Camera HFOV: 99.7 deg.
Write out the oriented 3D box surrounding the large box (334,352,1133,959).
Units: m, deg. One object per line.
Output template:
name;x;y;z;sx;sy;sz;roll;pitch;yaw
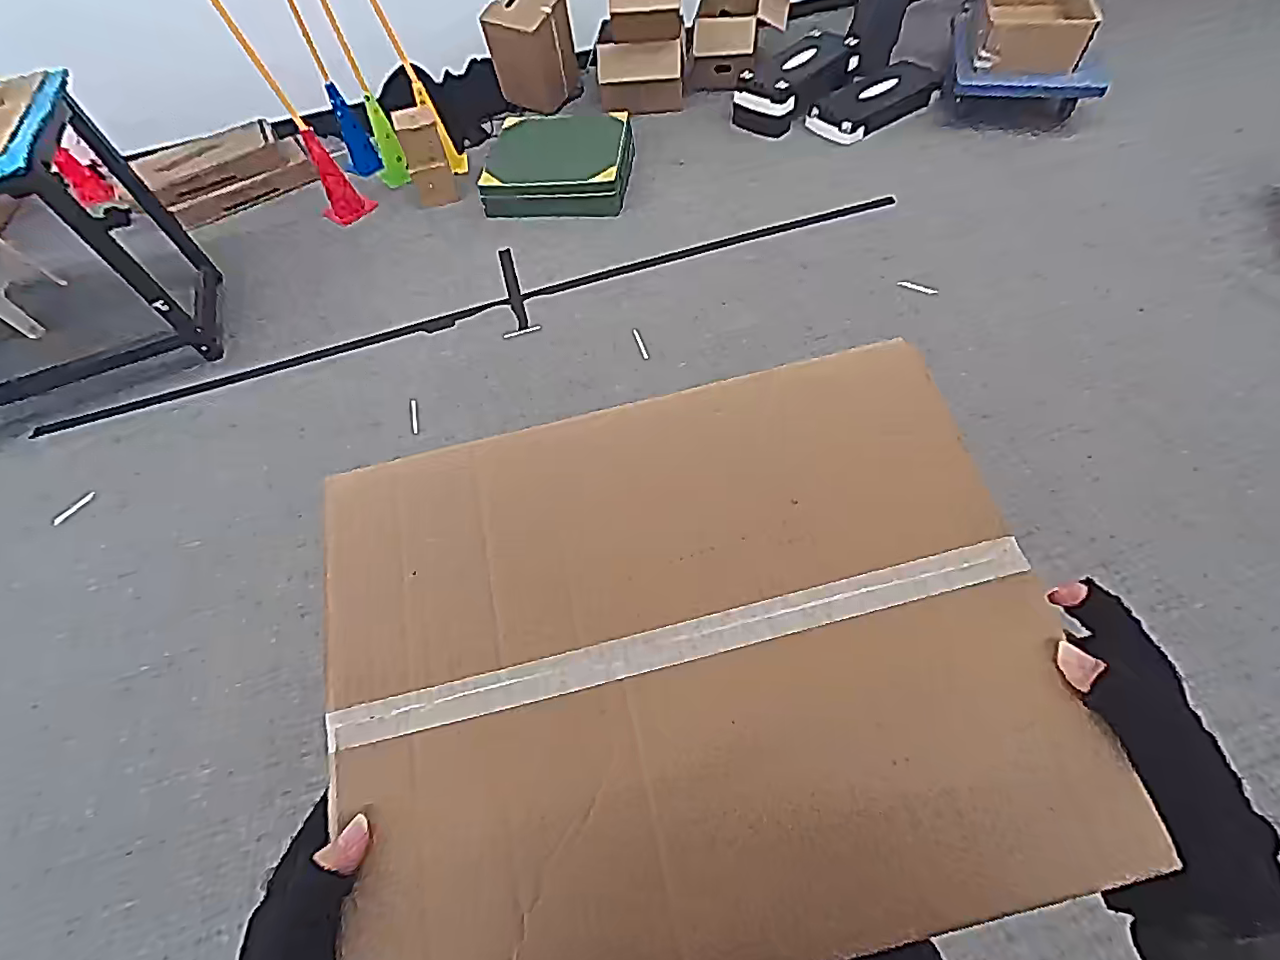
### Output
large box;0.034;0.149;0.456;0.408;0.320;0.320;-15;68;-1
